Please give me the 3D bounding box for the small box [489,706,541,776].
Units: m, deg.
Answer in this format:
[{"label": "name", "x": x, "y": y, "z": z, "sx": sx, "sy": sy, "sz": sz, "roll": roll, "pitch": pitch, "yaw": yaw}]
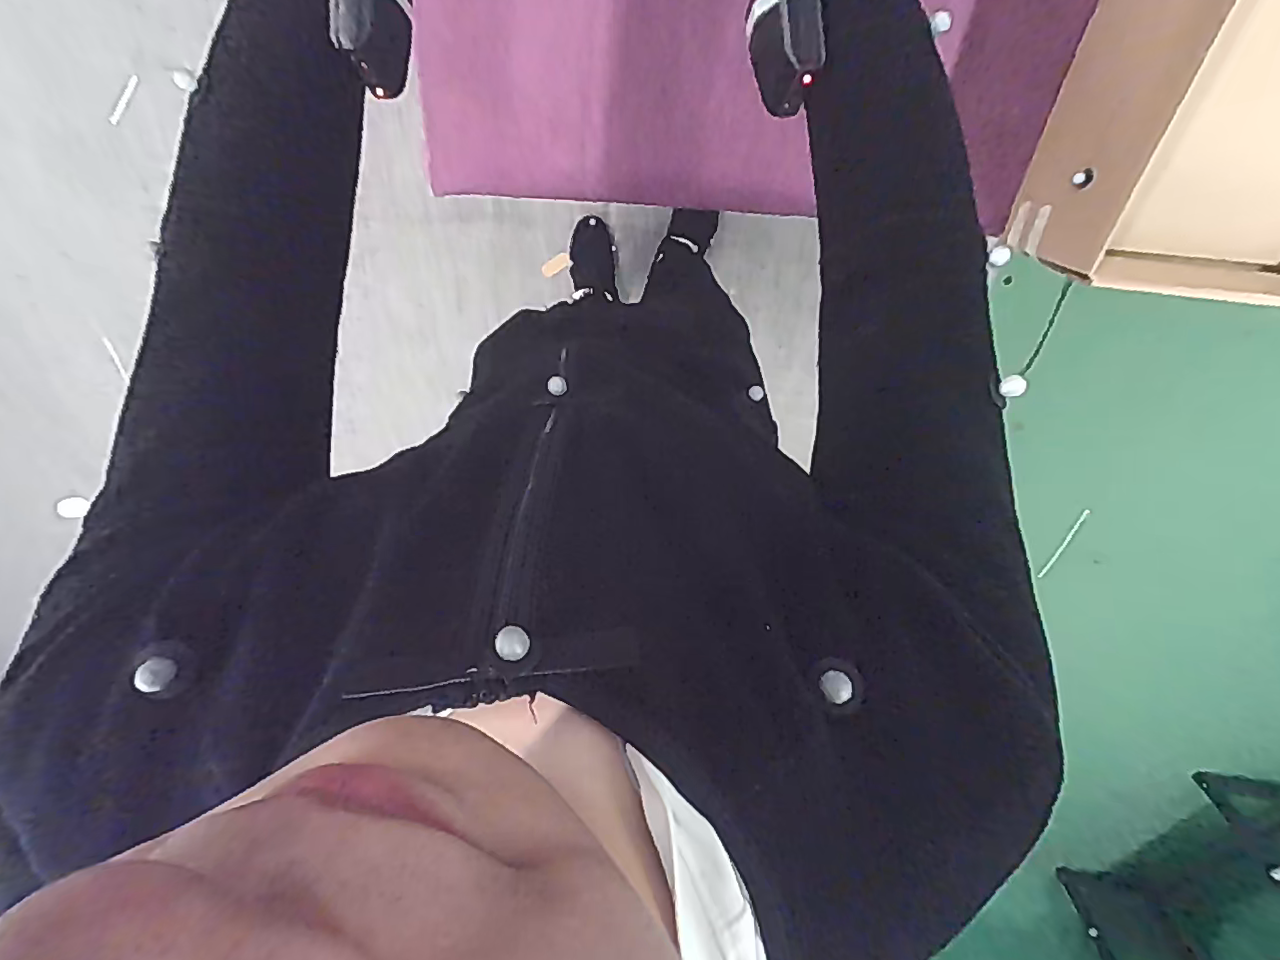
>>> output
[{"label": "small box", "x": -0.477, "y": 0.983, "z": 2.042, "sx": 0.168, "sy": 0.176, "sz": 0.179, "roll": 11, "pitch": 122, "yaw": -5}]
